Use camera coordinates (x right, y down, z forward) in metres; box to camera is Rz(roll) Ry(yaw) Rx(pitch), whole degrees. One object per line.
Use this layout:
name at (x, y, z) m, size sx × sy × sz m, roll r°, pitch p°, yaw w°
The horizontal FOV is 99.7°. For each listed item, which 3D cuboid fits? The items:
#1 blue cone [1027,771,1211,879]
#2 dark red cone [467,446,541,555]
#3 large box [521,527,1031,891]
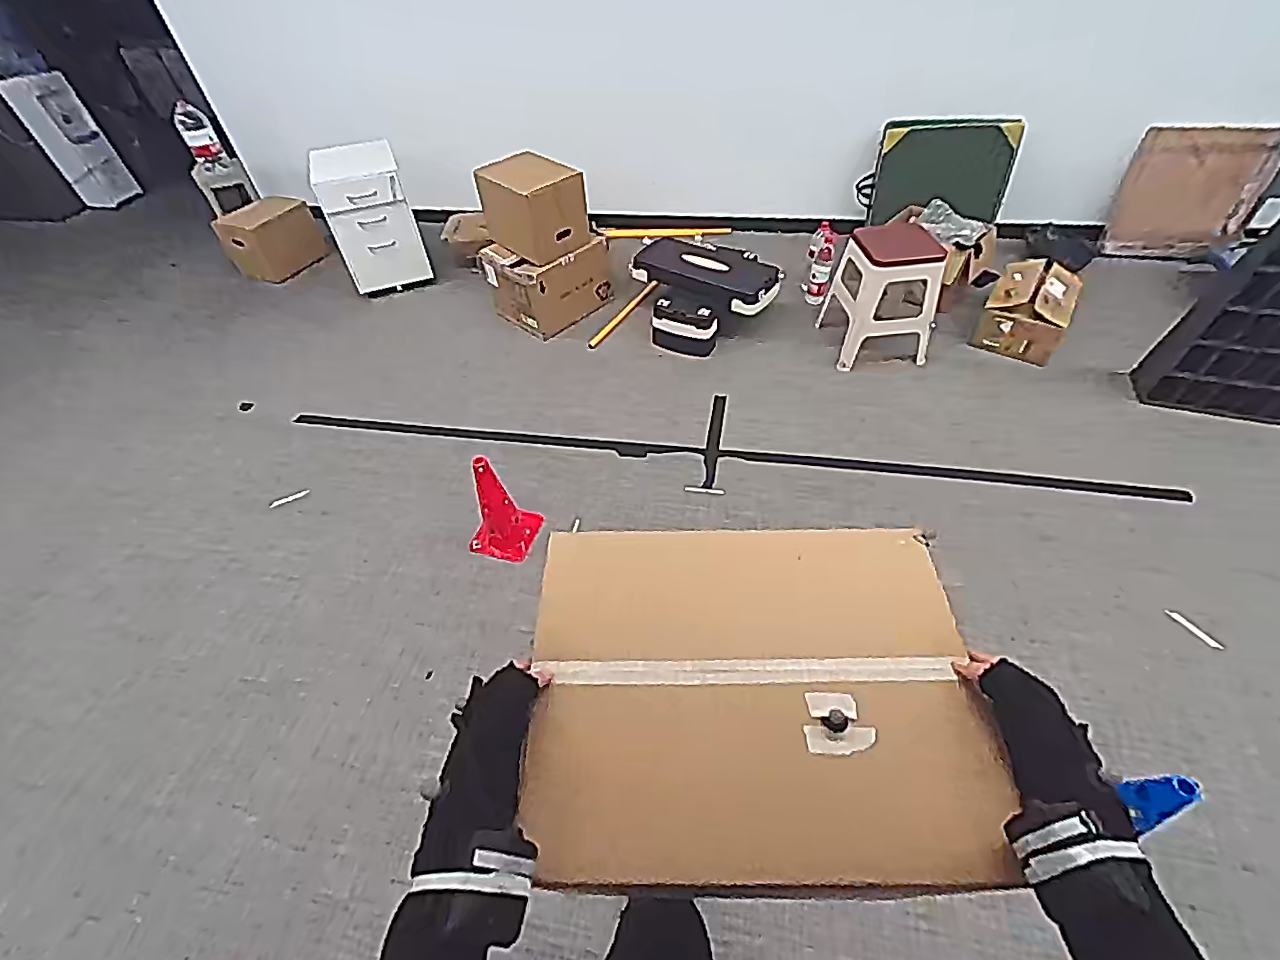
blue cone at (0.981, 0.660, 1.092) m, size 0.192 × 0.380 × 0.193 m, roll 9°, pitch 50°, yaw 10°
dark red cone at (-0.456, 0.048, 1.685) m, size 0.201 × 0.394 × 0.202 m, roll 11°, pitch 50°, yaw 12°
large box at (0.105, 0.269, 0.623) m, size 0.408 × 0.320 × 0.320 m, roll -1°, pitch 51°, yaw 1°
